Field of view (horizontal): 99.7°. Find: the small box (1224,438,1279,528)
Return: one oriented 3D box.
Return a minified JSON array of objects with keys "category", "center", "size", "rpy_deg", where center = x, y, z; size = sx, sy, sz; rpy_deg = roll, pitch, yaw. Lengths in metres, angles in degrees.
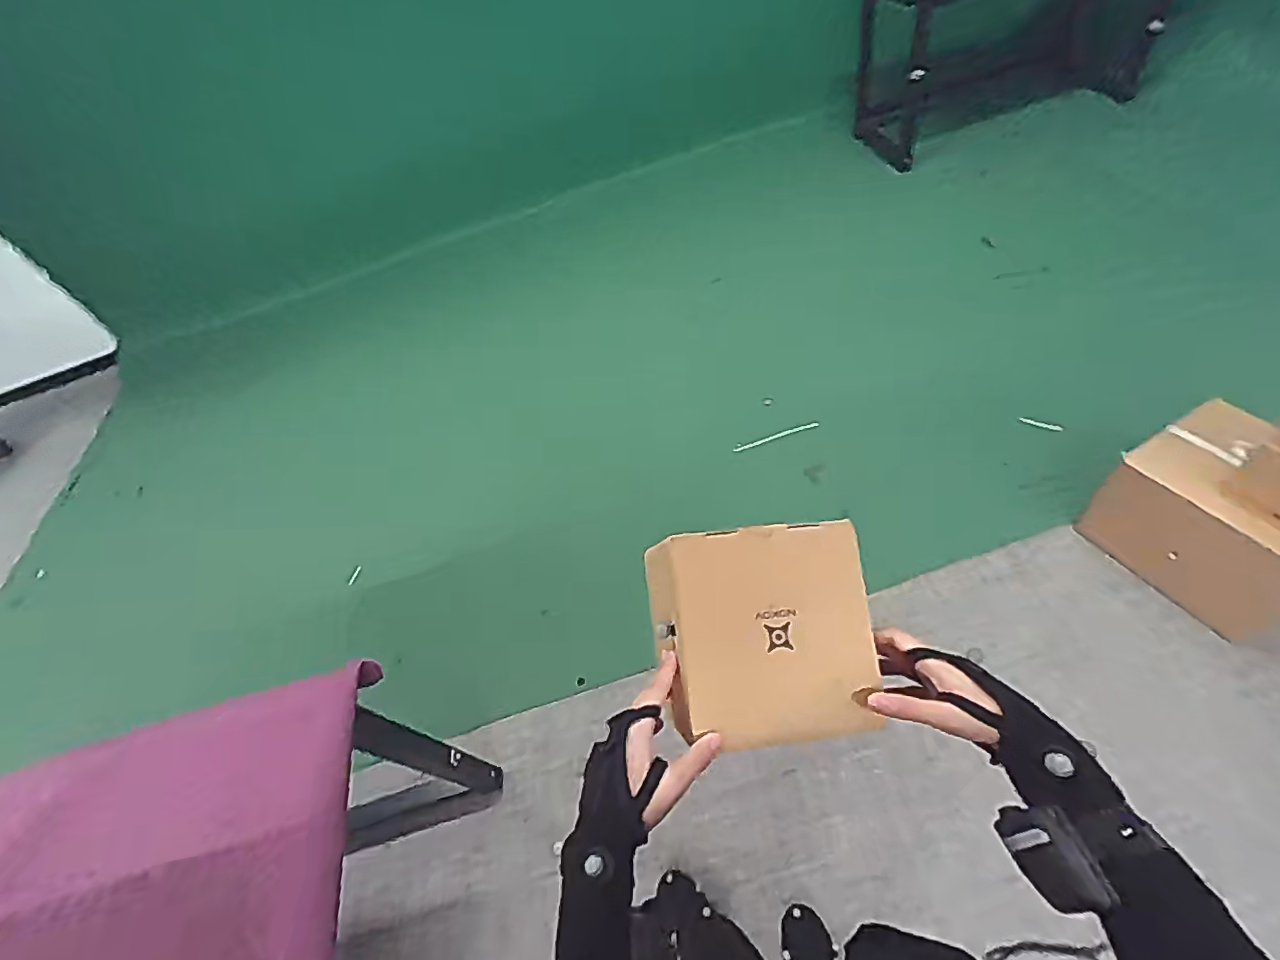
[{"category":"small box","center":[1.335,-0.013,1.070],"size":[0.179,0.176,0.168],"rpy_deg":[-29,50,-8]}]

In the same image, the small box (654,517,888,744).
[{"category":"small box","center":[0.109,0.136,0.526],"size":[0.168,0.176,0.179],"rpy_deg":[-3,77,-7]}]

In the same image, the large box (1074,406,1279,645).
[{"category":"large box","center":[1.383,0.103,1.284],"size":[0.320,0.320,0.408],"rpy_deg":[-29,49,-9]}]
